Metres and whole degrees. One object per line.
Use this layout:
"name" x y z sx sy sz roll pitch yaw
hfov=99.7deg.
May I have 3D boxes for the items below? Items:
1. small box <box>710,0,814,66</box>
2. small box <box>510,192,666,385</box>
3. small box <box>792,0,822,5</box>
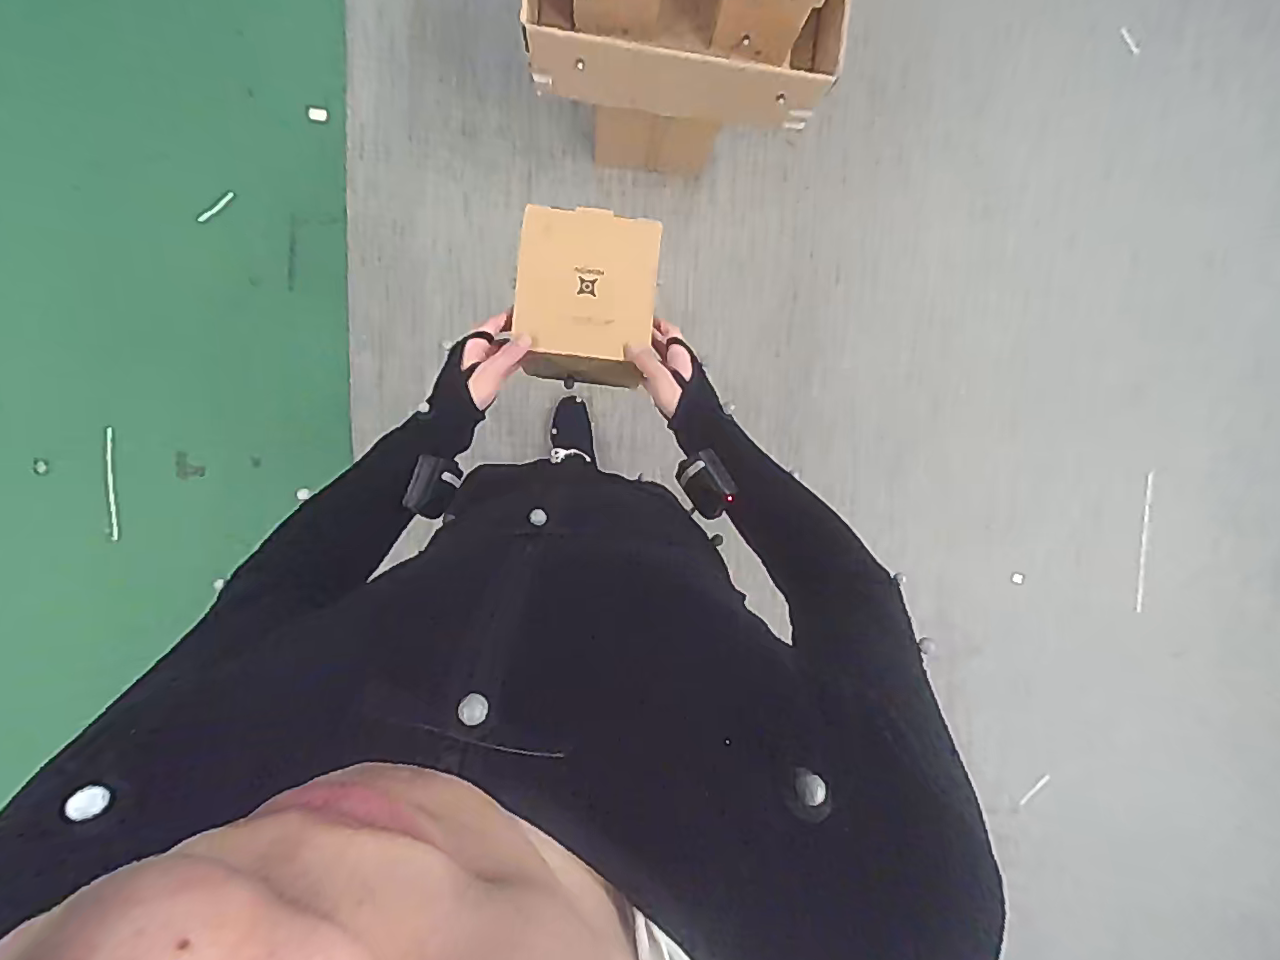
"small box" 0.243 -0.972 1.060 0.168 0.176 0.179 7 95 -6
"small box" -0.067 -0.234 0.705 0.168 0.176 0.179 6 88 -5
"small box" 0.266 -0.948 0.898 0.168 0.176 0.179 3 95 -6
